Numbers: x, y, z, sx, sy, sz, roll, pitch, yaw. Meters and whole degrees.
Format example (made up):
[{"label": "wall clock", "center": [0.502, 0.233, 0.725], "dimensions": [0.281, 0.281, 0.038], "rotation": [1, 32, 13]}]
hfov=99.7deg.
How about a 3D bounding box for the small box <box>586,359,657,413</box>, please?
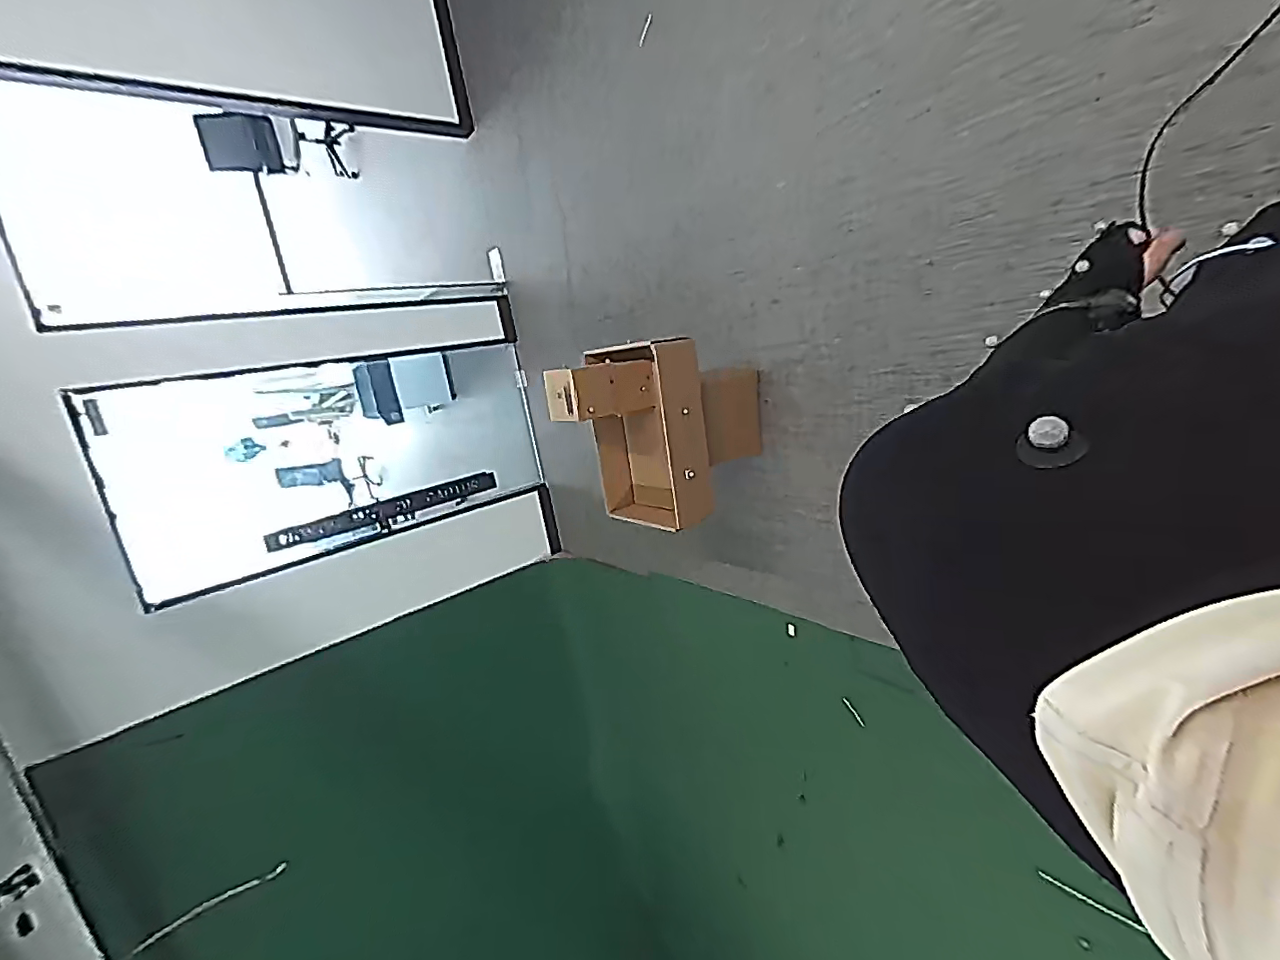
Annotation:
[{"label": "small box", "center": [-0.063, -0.327, 1.881], "dimensions": [0.179, 0.176, 0.168], "rotation": [8, 110, 49]}]
